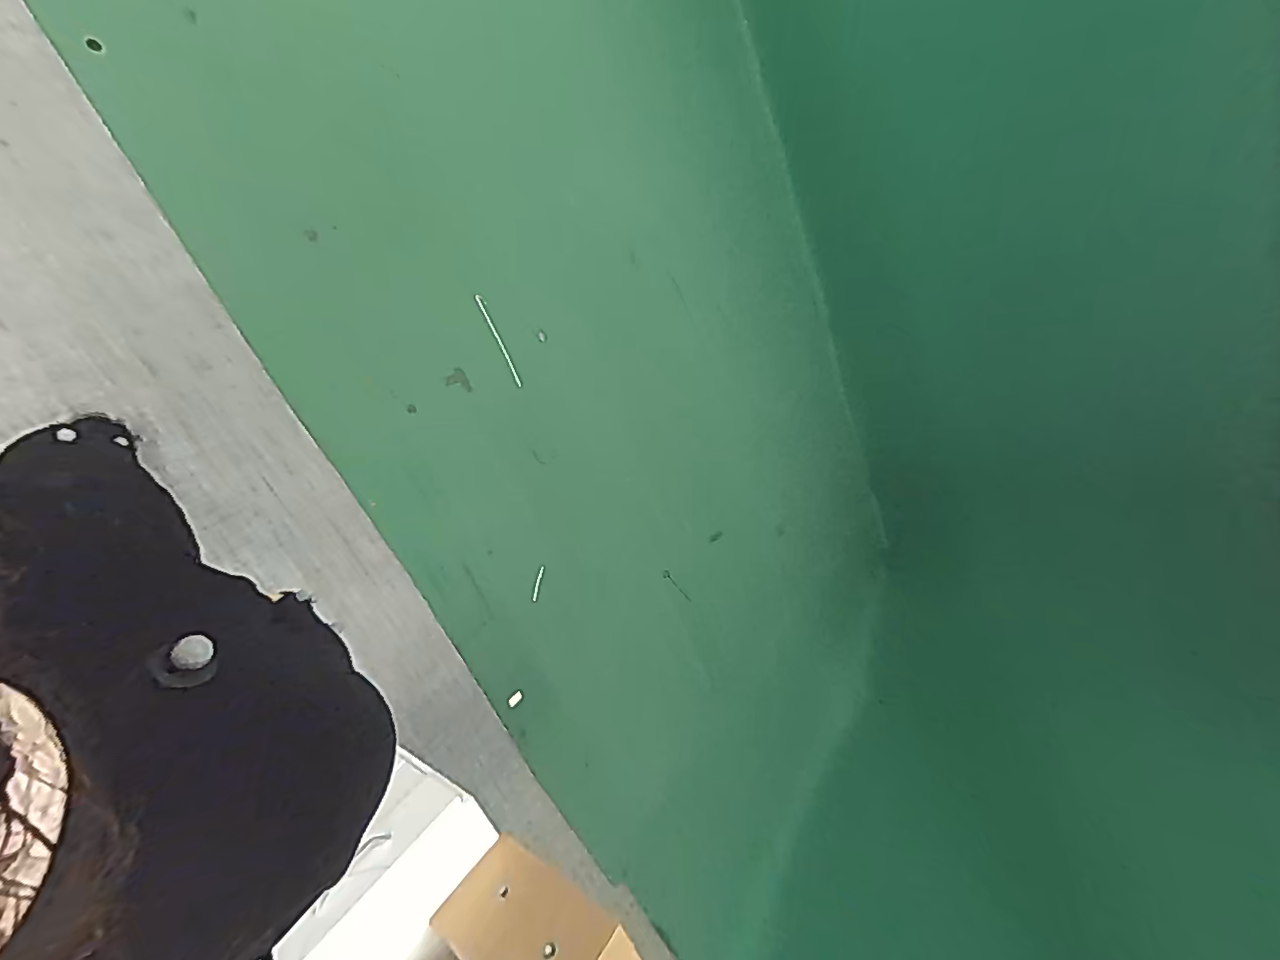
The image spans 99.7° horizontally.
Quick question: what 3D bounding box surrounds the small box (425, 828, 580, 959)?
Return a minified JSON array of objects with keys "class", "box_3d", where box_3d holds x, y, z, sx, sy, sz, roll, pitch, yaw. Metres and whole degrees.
[{"class":"small box","box_3d":[-0.245,0.774,0.967,0.179,0.176,0.168,-39,114,-40]}]
